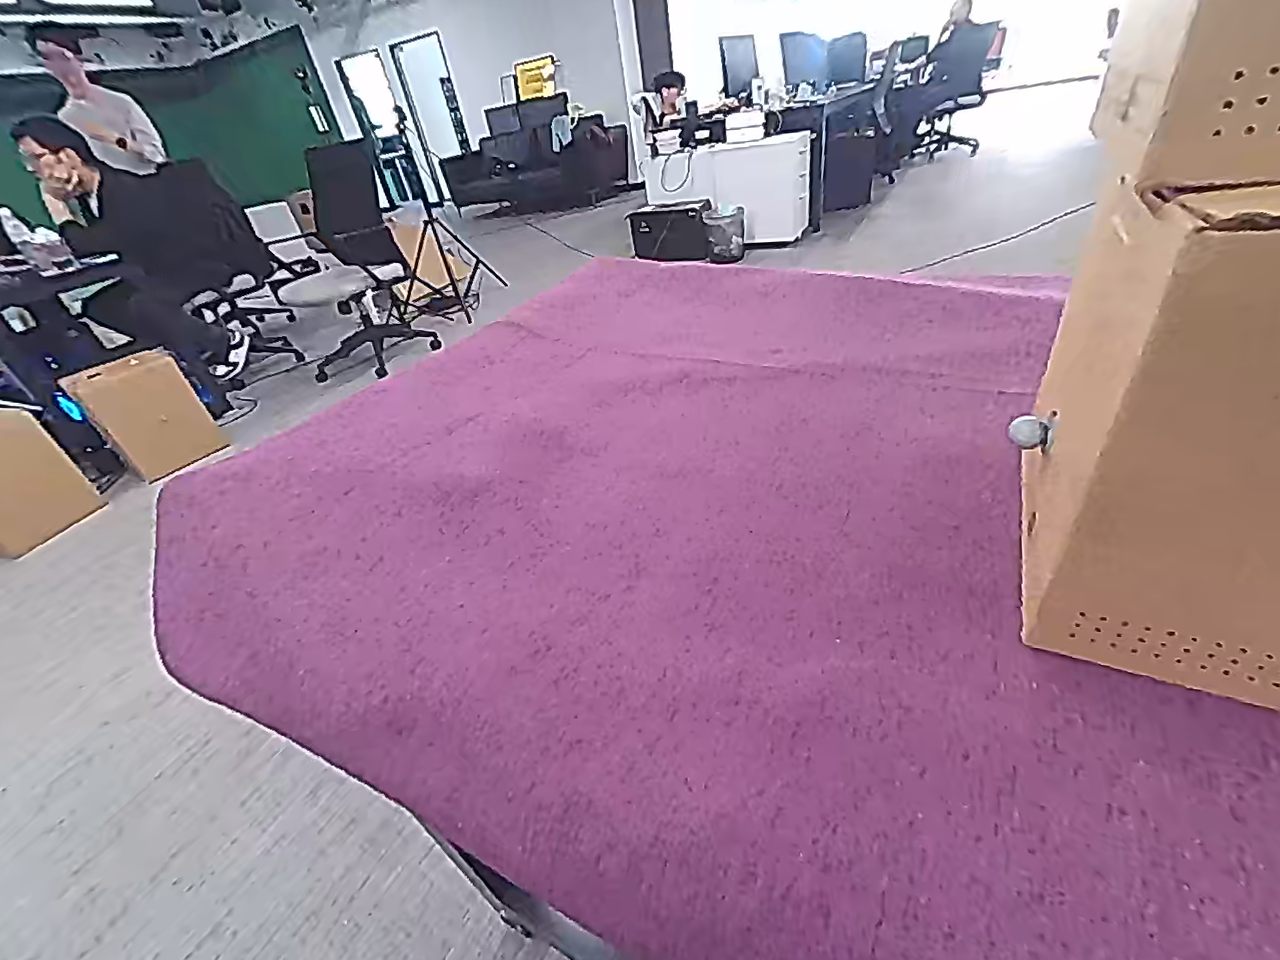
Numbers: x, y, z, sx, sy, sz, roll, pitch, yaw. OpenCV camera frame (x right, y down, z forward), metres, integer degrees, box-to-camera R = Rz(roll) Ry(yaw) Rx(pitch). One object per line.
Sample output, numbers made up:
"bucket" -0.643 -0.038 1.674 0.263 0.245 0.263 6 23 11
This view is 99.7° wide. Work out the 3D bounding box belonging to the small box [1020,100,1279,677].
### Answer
"small box" 0.266 -0.034 0.197 0.179 0.176 0.168 11 39 28
